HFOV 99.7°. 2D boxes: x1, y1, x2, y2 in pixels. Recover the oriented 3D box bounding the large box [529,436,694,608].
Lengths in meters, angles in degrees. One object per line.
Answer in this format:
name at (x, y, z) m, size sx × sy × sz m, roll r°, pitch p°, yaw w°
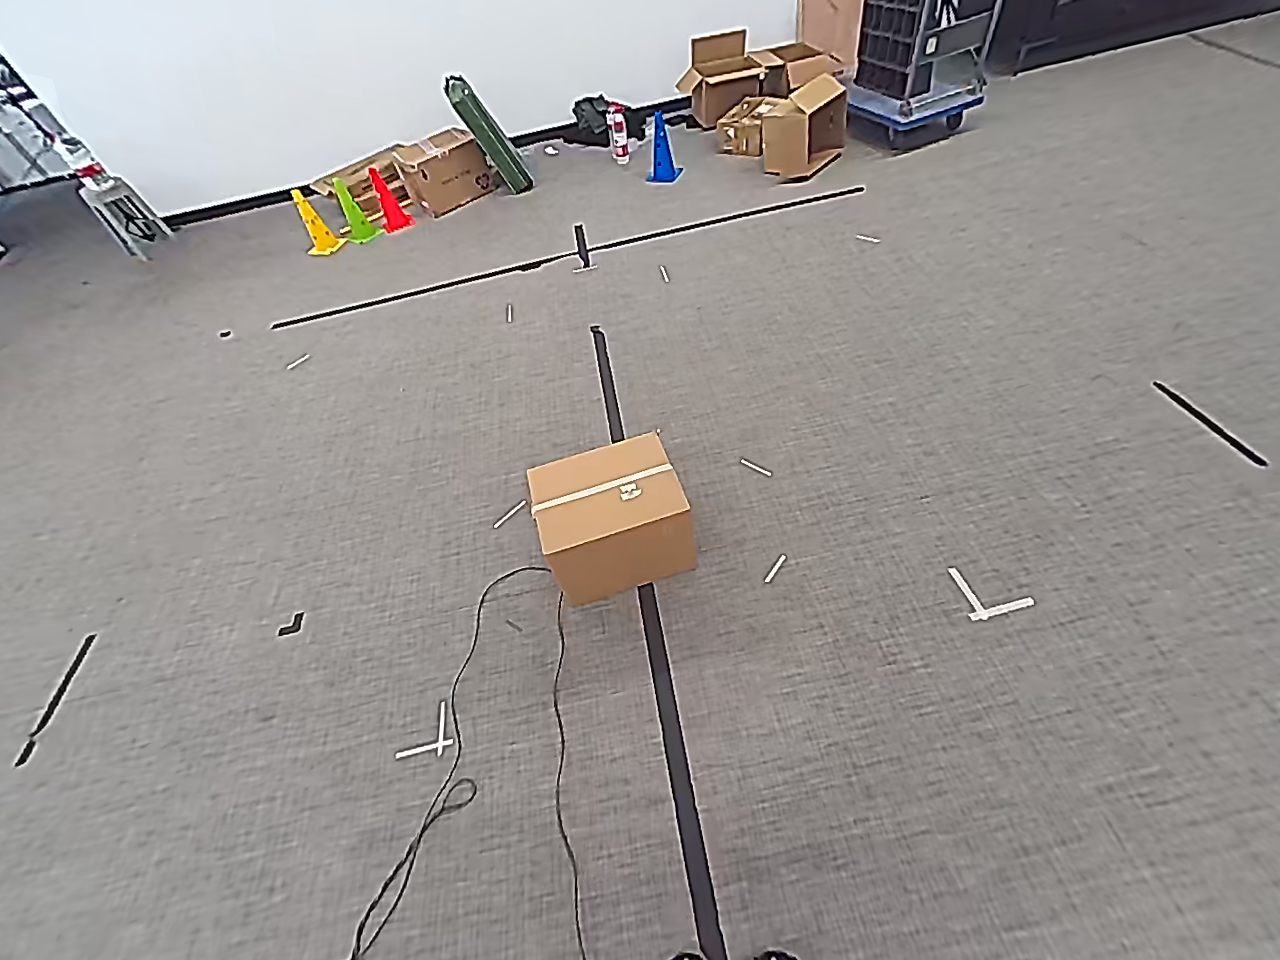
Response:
large box at (-0.079, 0.127, 1.614) m, size 0.408 × 0.320 × 0.320 m, roll -16°, pitch 51°, yaw -5°
